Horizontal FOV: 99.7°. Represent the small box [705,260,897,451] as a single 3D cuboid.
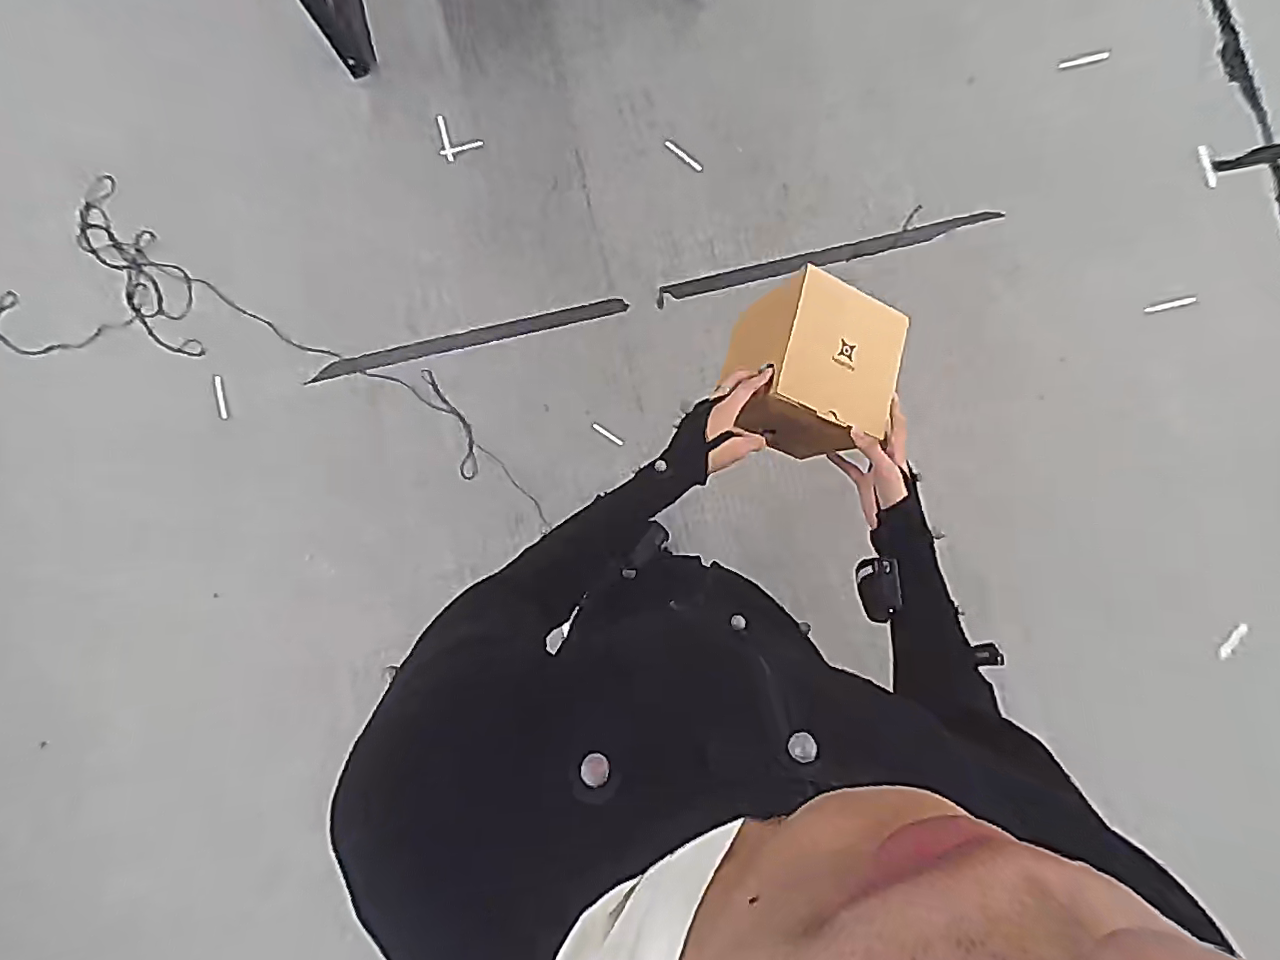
[{"bbox_3d":[0.208,-0.152,0.729,0.168,0.176,0.179,19,79,-18],"label":"small box"}]
